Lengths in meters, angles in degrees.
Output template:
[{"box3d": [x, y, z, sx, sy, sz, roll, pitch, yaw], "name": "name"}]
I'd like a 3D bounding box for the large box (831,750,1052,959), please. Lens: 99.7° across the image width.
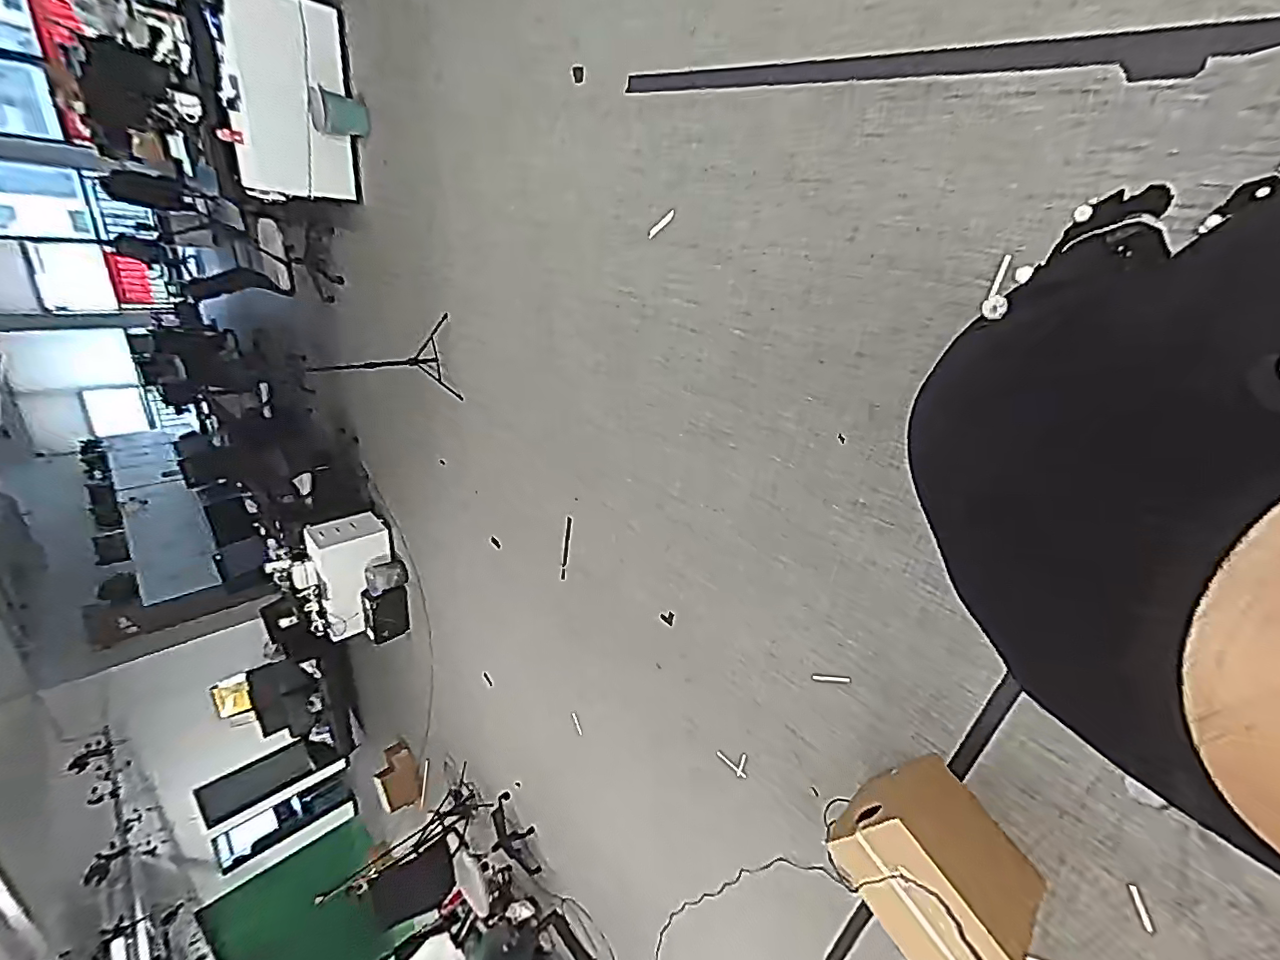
[{"box3d": [0.848, 1.077, 1.541, 0.408, 0.320, 0.320, 52, 133, 22], "name": "large box"}]
